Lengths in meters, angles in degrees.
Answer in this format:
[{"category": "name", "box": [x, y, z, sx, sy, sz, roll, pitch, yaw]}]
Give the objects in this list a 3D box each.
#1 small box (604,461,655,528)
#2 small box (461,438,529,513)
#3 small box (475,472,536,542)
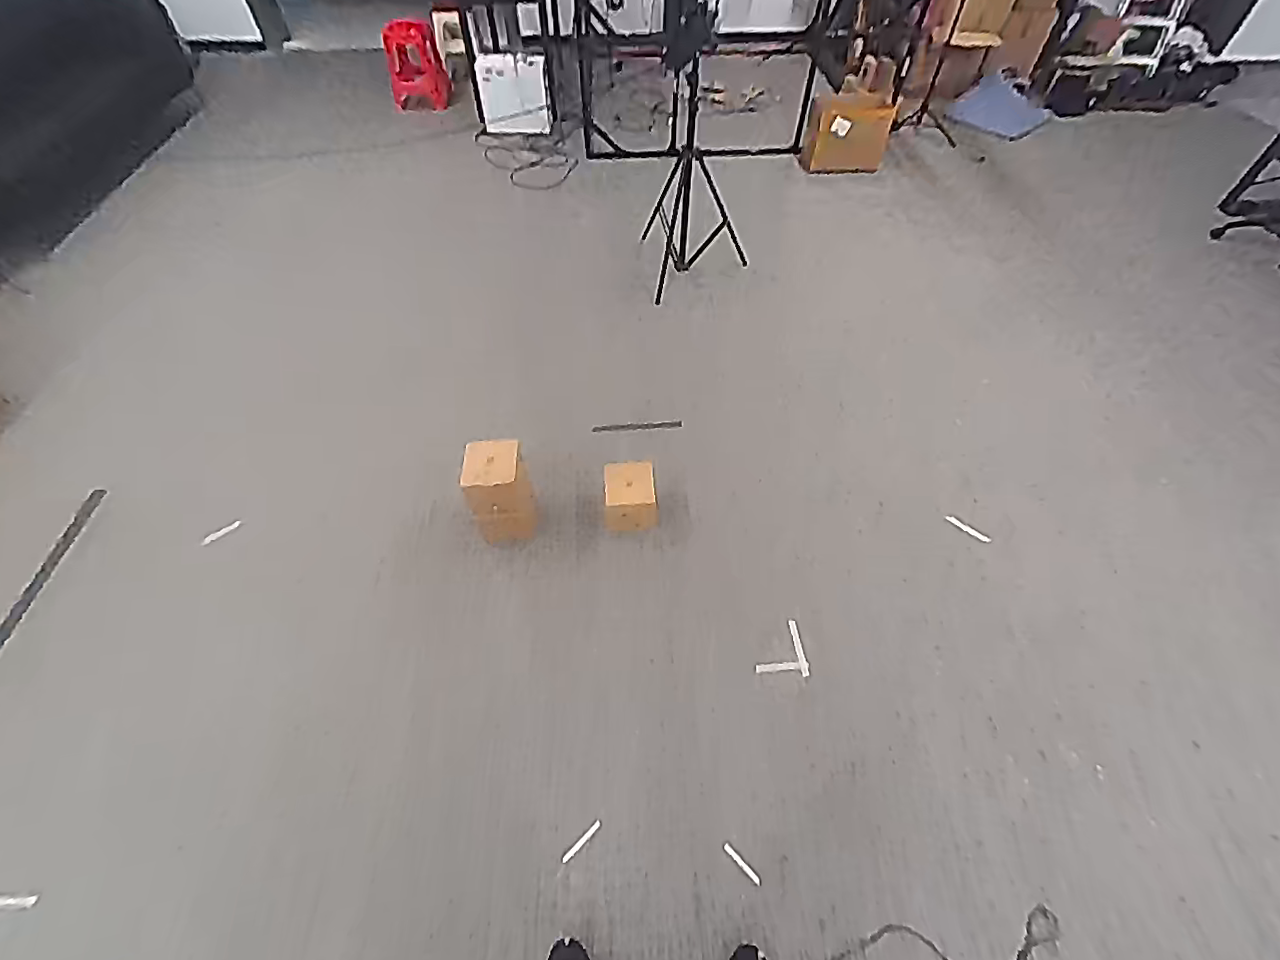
[{"category": "small box", "box": [-0.035, 0.056, 1.877, 0.168, 0.176, 0.179, -3, 52, -3]}, {"category": "small box", "box": [-0.455, -0.013, 1.723, 0.168, 0.176, 0.179, -4, 53, 0]}, {"category": "small box", "box": [-0.452, 0.093, 1.849, 0.168, 0.176, 0.179, -3, 53, -1]}]
